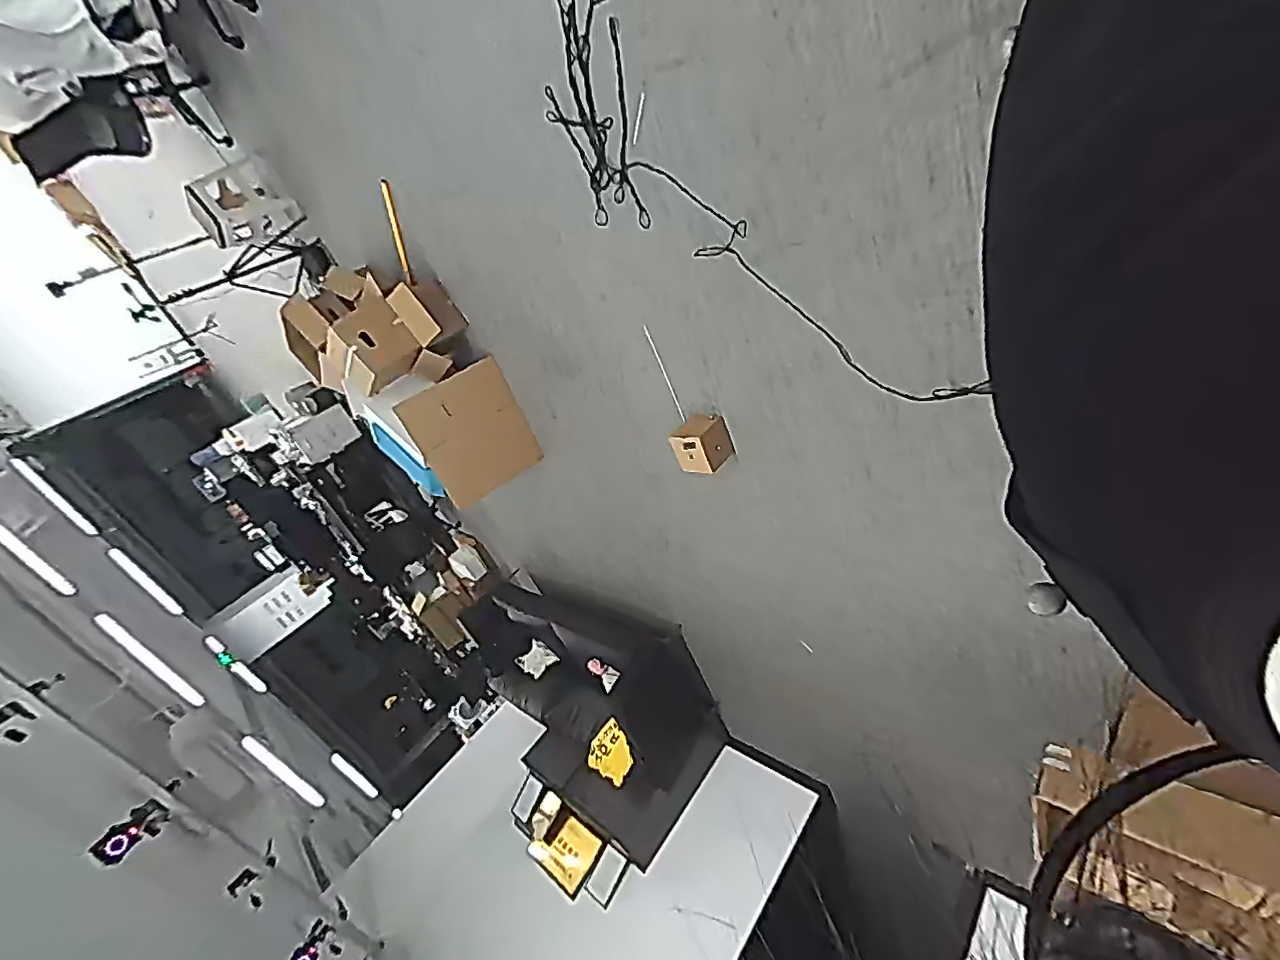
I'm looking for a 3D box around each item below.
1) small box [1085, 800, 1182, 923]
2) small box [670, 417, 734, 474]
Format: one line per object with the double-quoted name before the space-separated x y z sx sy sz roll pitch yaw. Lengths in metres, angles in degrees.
"small box" 1.290 0.990 1.415 0.168 0.176 0.179 8 132 43
"small box" 0.256 -0.147 2.199 0.168 0.176 0.179 7 131 47
